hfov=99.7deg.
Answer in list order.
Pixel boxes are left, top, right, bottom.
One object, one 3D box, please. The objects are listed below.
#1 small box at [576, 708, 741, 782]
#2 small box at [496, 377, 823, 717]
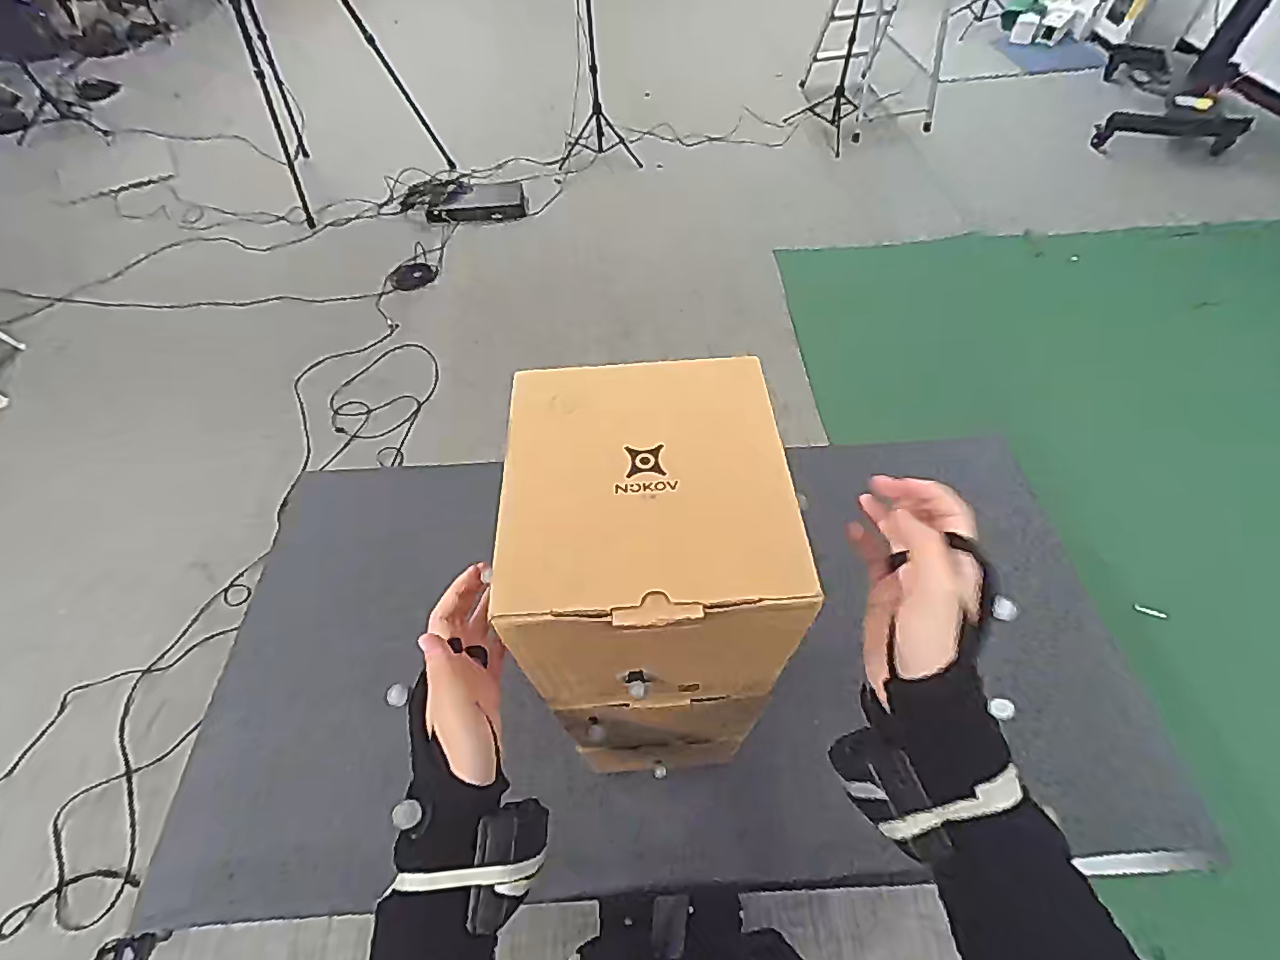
[{"bbox_3d":[0.016,0.245,0.641,0.168,0.176,0.179,-4,54,0],"label":"small box"},{"bbox_3d":[0.007,0.051,0.379,0.168,0.176,0.179,-3,54,-1],"label":"small box"}]
